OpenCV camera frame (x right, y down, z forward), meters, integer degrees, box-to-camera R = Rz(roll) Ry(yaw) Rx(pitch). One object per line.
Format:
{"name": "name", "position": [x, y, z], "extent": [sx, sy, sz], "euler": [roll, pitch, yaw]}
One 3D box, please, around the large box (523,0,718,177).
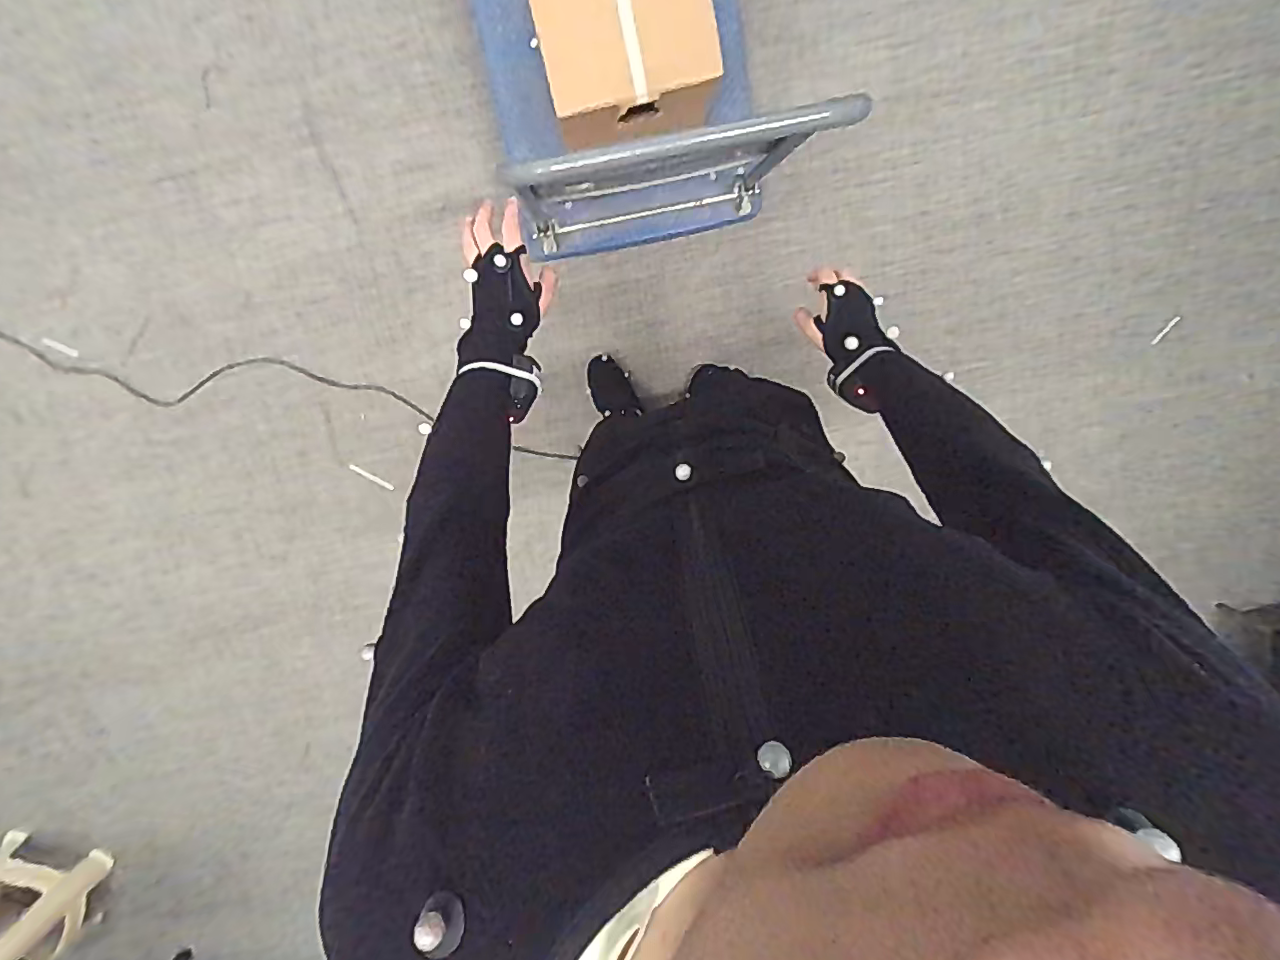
{"name": "large box", "position": [-0.056, -0.905, 1.090], "extent": [0.320, 0.320, 0.408], "euler": [-14, 104, 1]}
